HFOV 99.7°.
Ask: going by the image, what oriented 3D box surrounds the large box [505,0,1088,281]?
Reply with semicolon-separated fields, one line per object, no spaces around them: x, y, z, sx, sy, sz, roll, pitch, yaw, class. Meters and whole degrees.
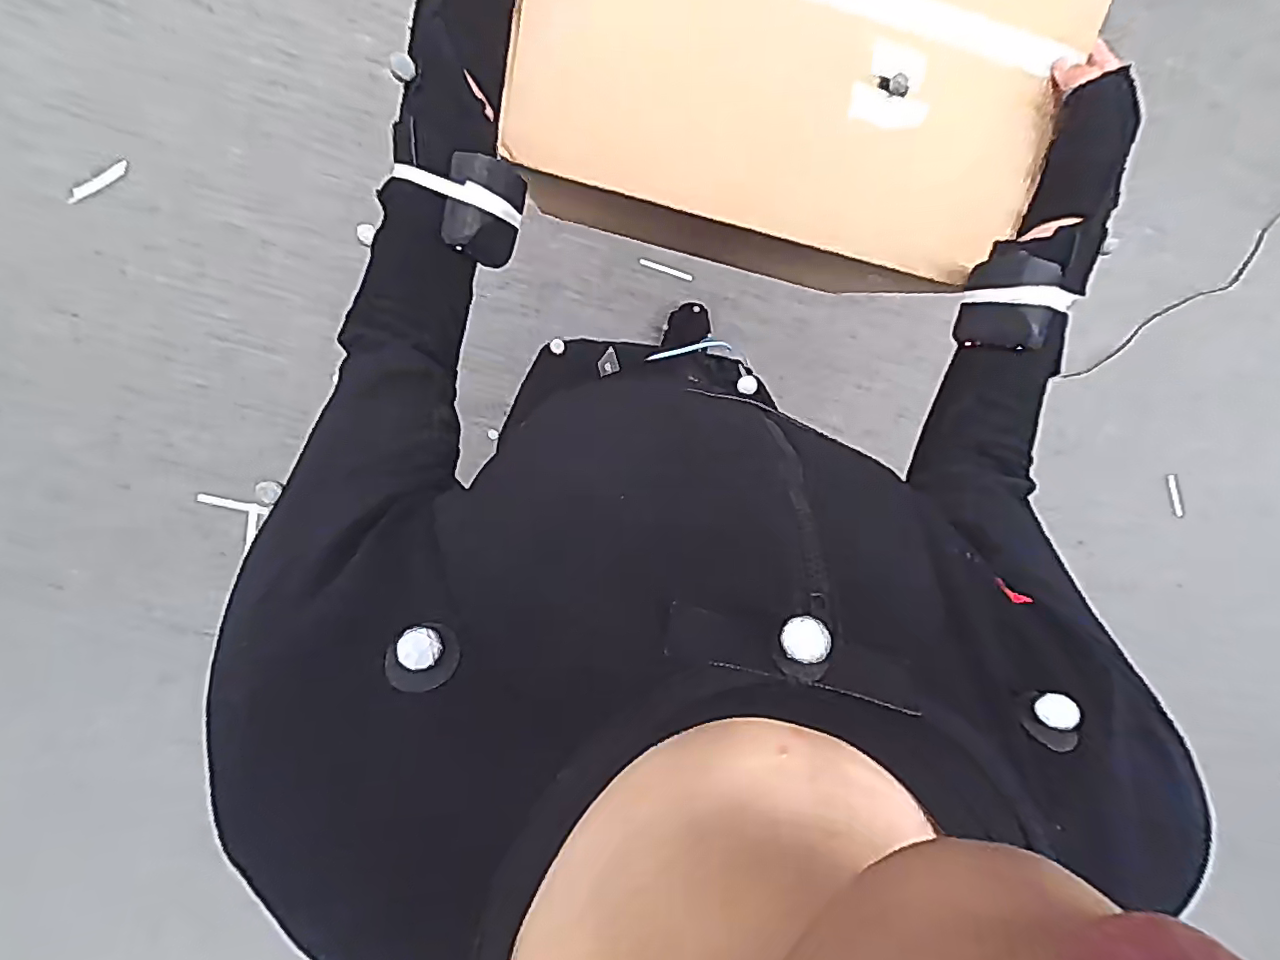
0.108;-0.394;0.519;0.408;0.320;0.320;11;109;-9;large box
